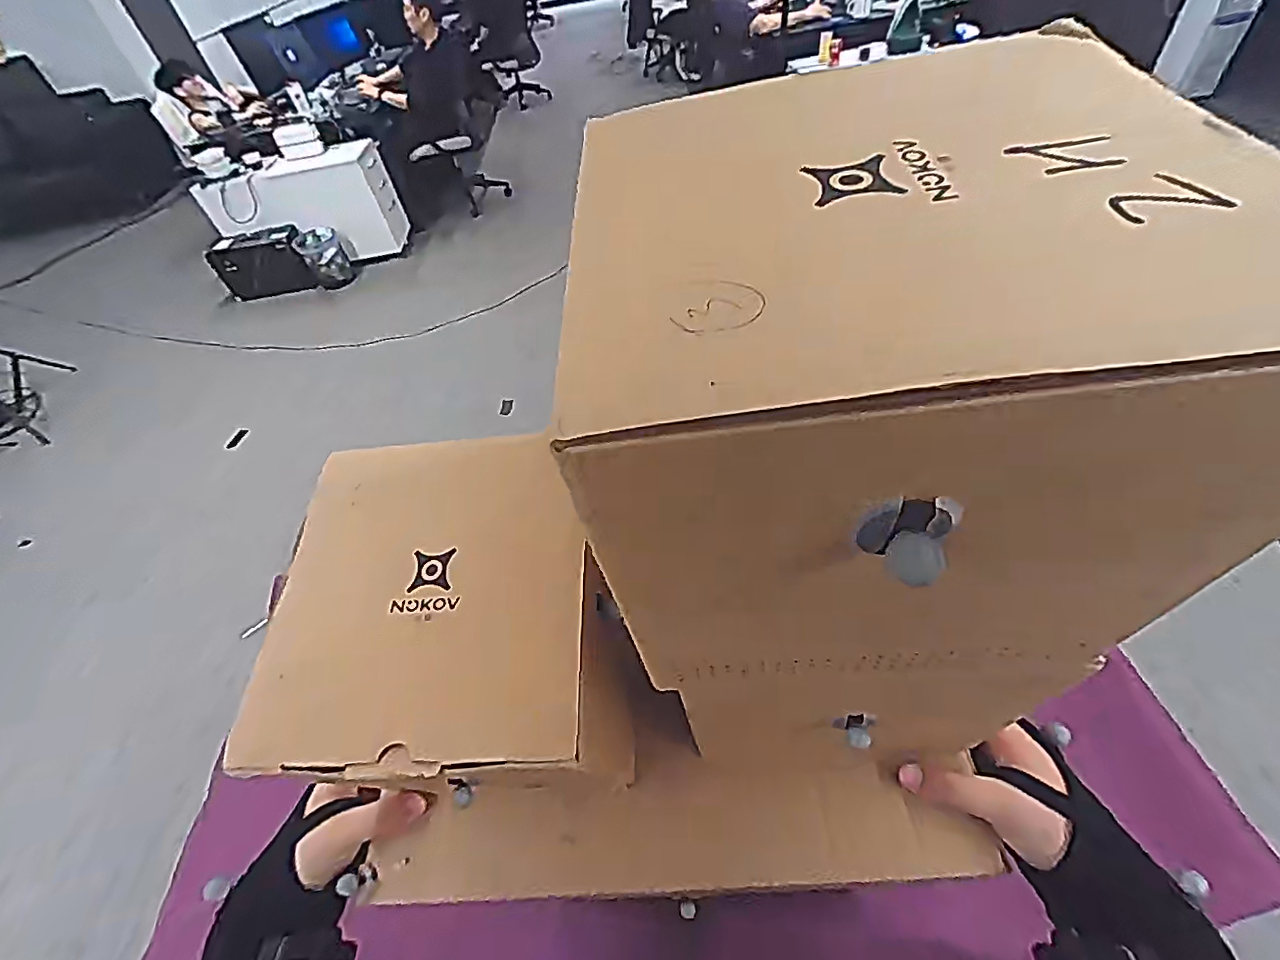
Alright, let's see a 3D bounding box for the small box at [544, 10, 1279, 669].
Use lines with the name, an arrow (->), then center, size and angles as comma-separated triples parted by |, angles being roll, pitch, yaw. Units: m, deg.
small box -> 0.079, -0.036, 0.206 | 0.179, 0.176, 0.168 | -5, 53, 7
